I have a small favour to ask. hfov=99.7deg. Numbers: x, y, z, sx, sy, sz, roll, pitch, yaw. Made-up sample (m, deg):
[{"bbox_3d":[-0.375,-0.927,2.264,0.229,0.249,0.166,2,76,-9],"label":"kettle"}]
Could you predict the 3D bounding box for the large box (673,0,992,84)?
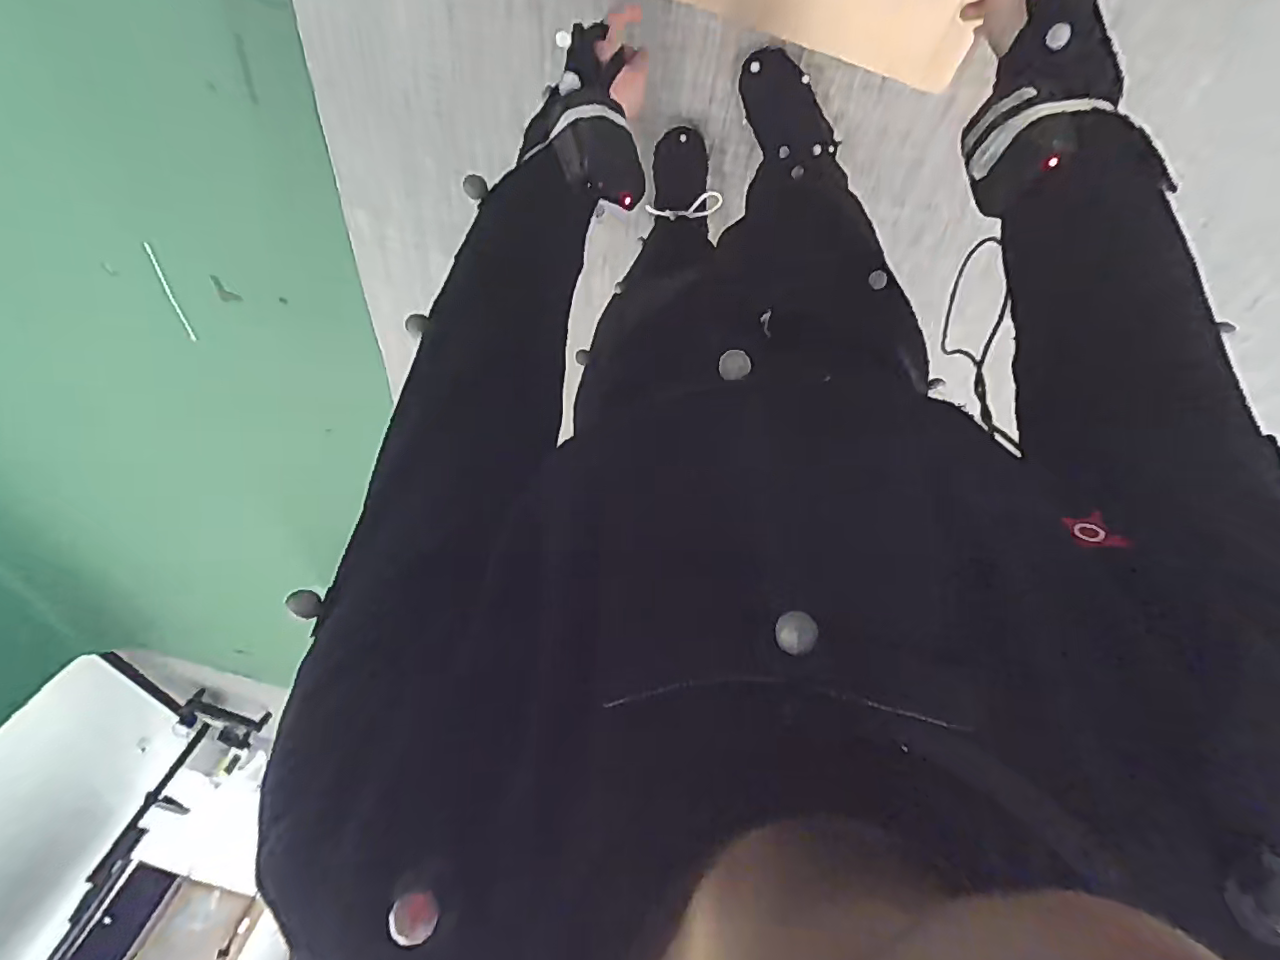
[{"bbox_3d":[0.270,-0.772,0.694,0.408,0.320,0.320,18,136,-2],"label":"large box"}]
